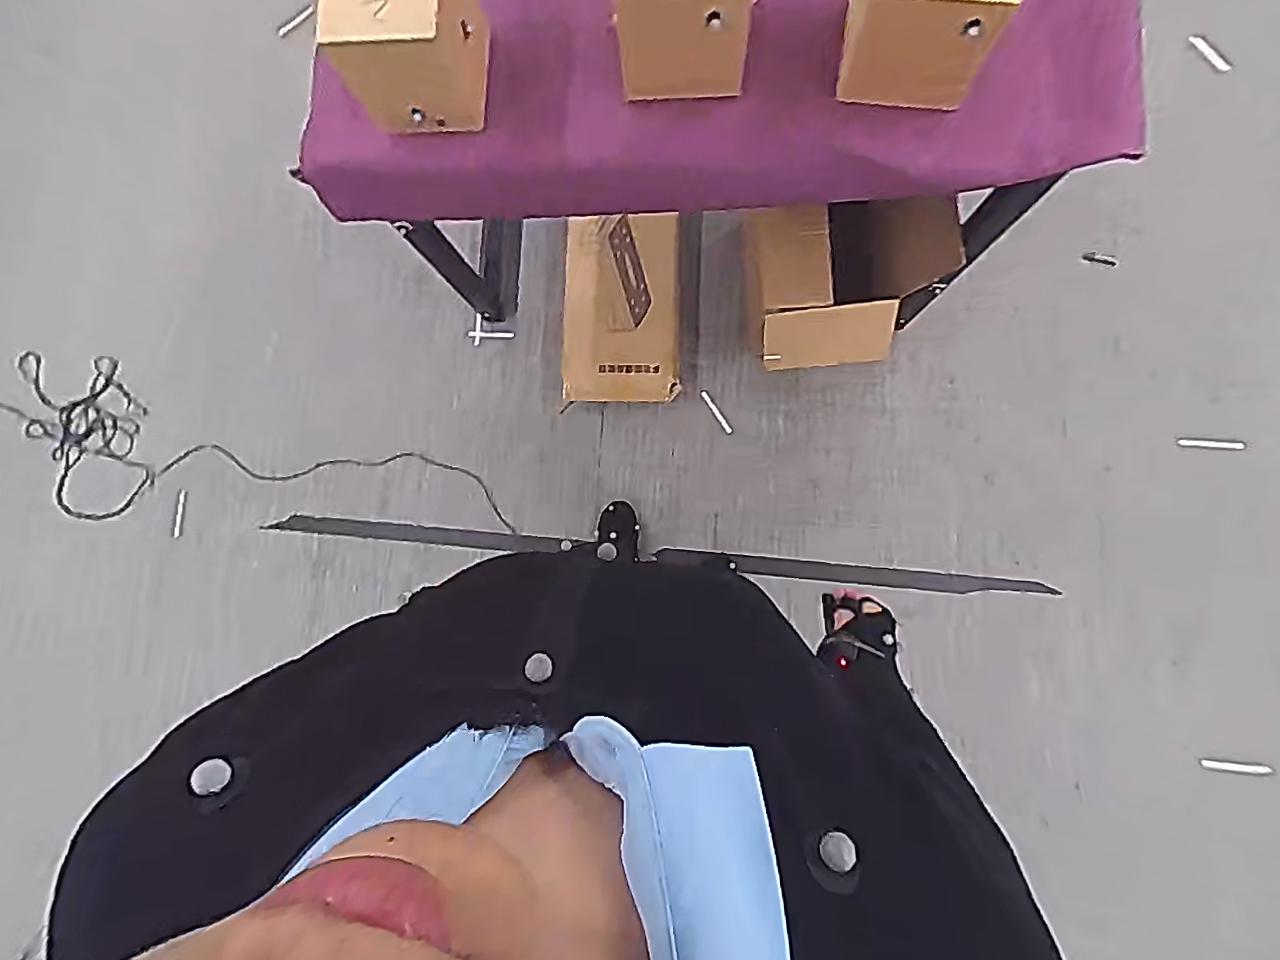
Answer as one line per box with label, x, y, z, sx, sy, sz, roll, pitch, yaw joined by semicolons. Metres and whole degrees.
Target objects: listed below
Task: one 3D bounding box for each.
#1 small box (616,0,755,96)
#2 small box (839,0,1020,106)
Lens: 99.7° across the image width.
small box;0.064;-0.670;0.747;0.179;0.176;0.168;1;83;5
small box;0.380;-0.637;0.719;0.179;0.176;0.168;9;86;5
